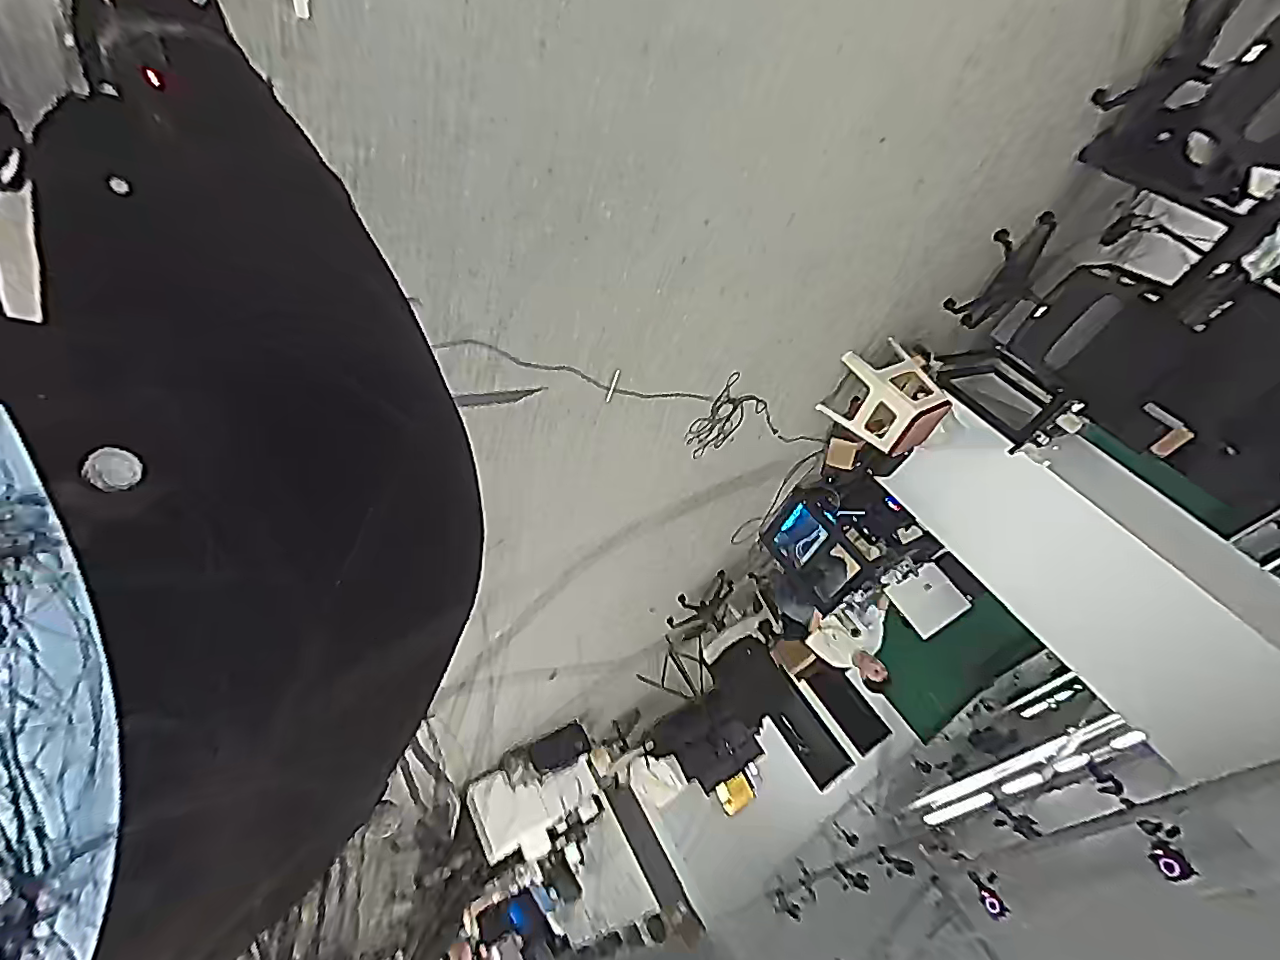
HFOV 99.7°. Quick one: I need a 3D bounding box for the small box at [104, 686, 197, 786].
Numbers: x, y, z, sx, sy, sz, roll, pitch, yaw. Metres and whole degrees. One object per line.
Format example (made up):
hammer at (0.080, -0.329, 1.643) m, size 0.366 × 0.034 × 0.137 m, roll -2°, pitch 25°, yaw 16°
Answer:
small box at (-1.370, 0.712, 1.518) m, size 0.168 × 0.176 × 0.179 m, roll -13°, pitch 142°, yaw -38°
